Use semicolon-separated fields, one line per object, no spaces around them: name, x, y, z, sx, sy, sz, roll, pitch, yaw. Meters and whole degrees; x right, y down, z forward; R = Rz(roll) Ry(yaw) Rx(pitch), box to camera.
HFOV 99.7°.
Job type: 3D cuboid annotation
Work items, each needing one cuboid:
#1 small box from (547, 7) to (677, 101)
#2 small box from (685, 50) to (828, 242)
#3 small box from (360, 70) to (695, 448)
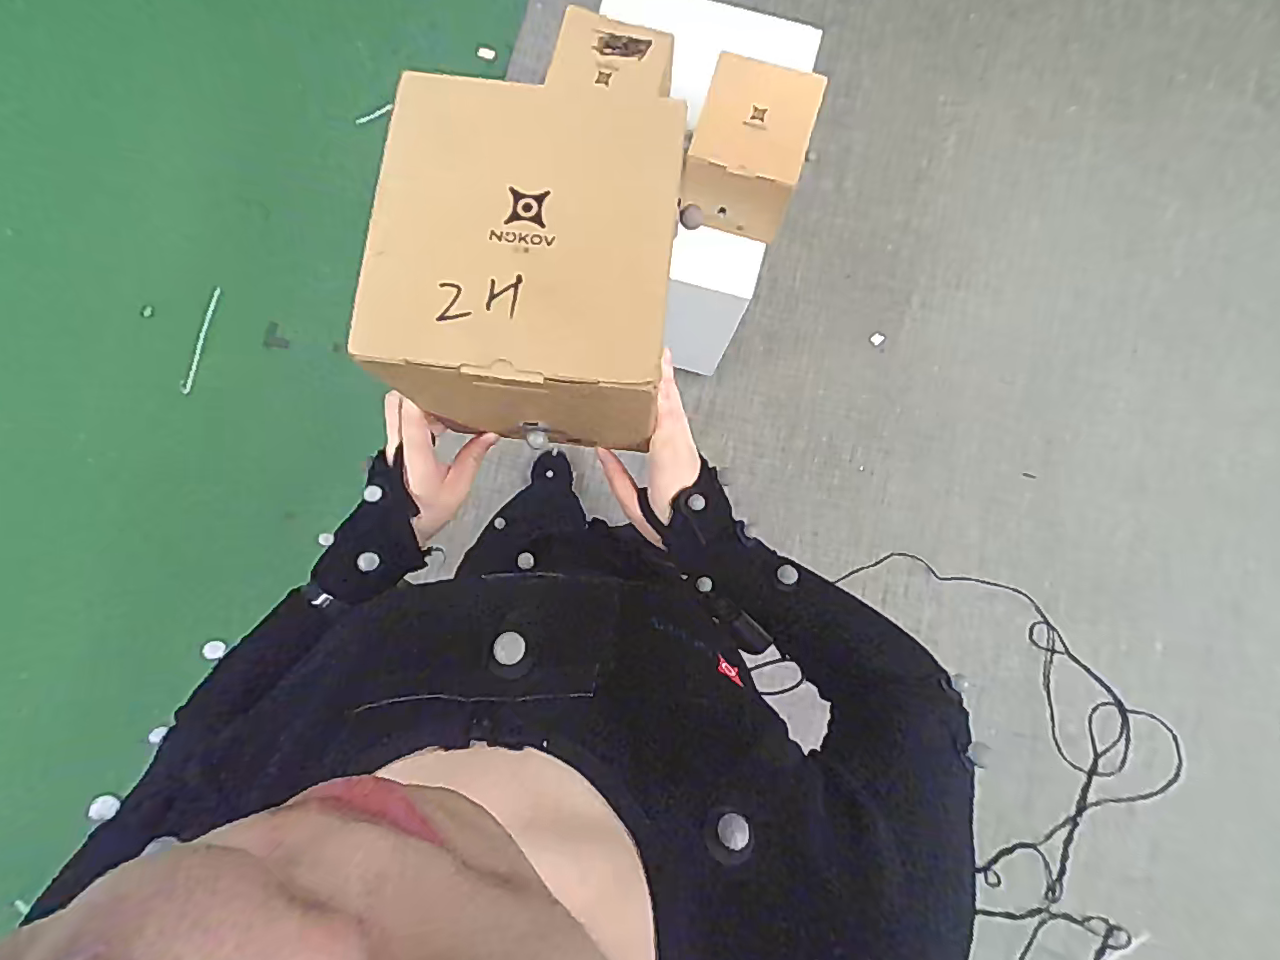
small box;-0.047;-0.587;0.869;0.168;0.176;0.179;15;88;1
small box;0.174;-0.520;0.864;0.168;0.176;0.179;17;88;2
small box;-0.060;-0.132;0.381;0.168;0.176;0.179;7;82;1
